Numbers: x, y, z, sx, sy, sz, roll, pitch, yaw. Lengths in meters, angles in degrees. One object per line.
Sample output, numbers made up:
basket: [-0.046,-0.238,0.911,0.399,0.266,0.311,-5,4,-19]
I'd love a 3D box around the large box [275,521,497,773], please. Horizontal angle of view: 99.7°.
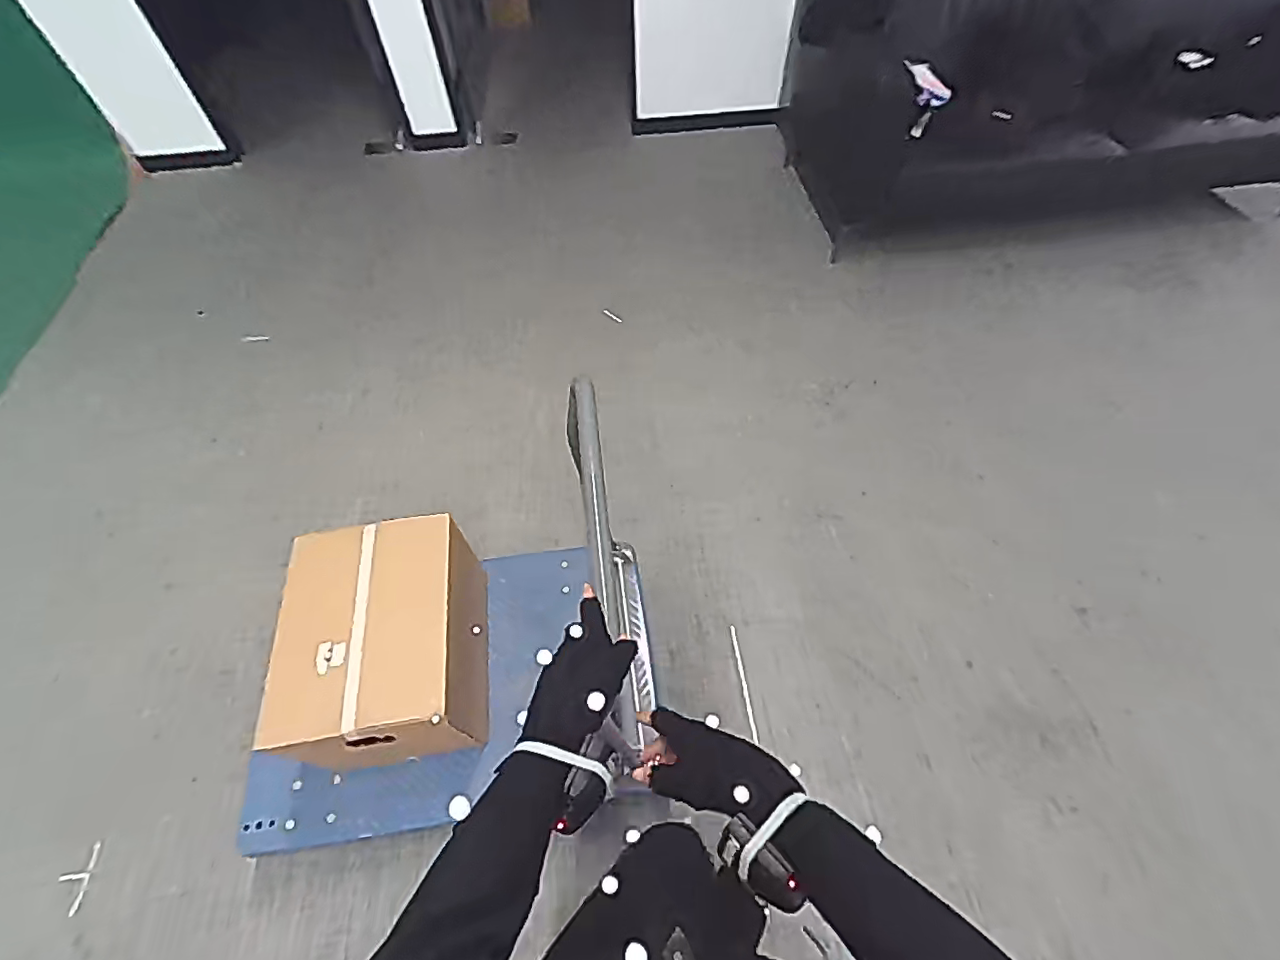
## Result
large box: [-0.494,0.352,1.137,0.320,0.320,0.408,-10,57,-5]
